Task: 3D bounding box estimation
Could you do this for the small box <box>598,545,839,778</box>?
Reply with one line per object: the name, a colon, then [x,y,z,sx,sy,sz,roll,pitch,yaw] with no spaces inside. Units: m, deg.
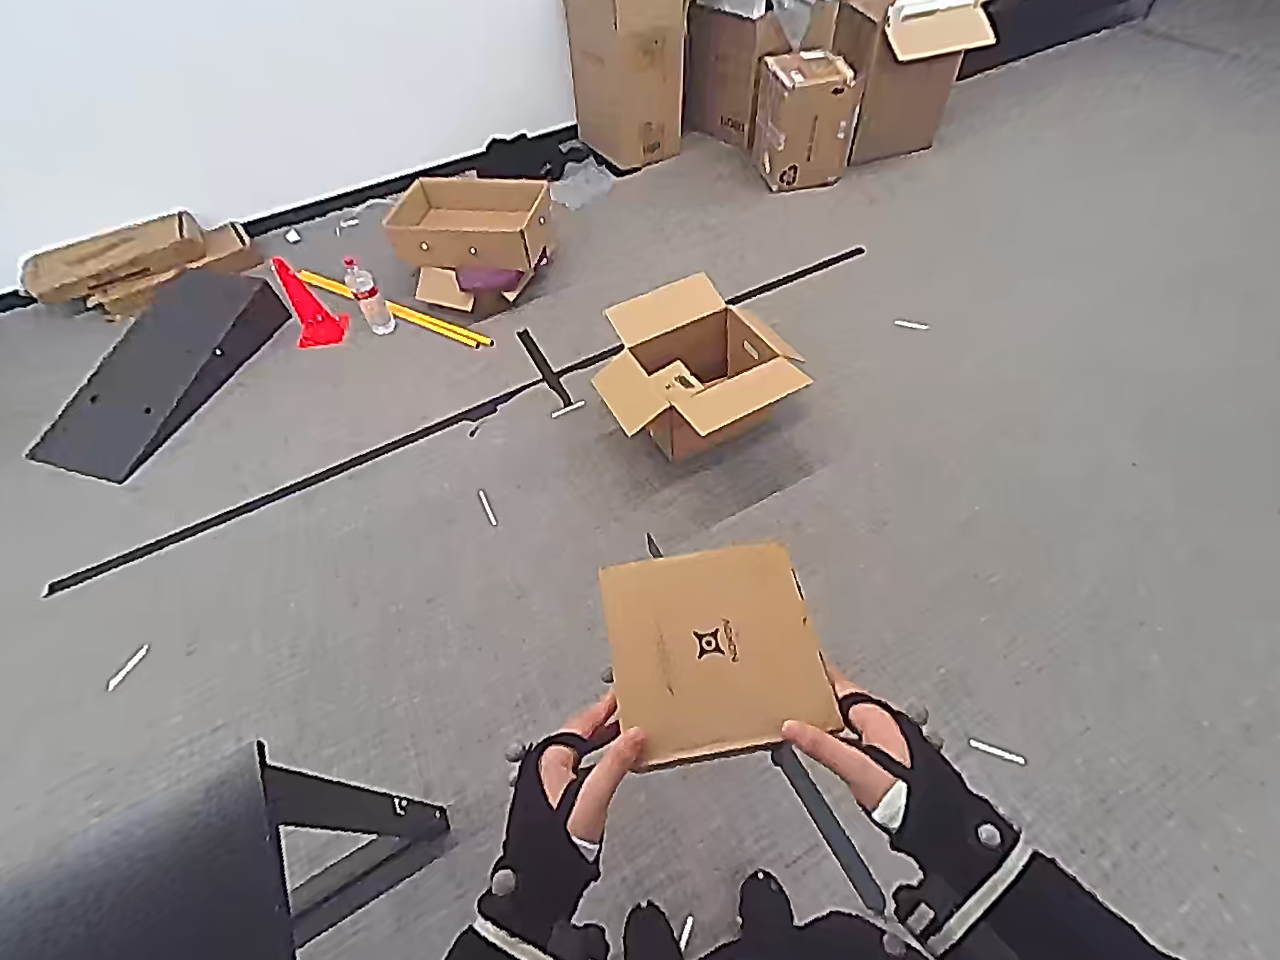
small box: [0.061,0.181,0.524,0.179,0.176,0.168,-10,59,-3]
